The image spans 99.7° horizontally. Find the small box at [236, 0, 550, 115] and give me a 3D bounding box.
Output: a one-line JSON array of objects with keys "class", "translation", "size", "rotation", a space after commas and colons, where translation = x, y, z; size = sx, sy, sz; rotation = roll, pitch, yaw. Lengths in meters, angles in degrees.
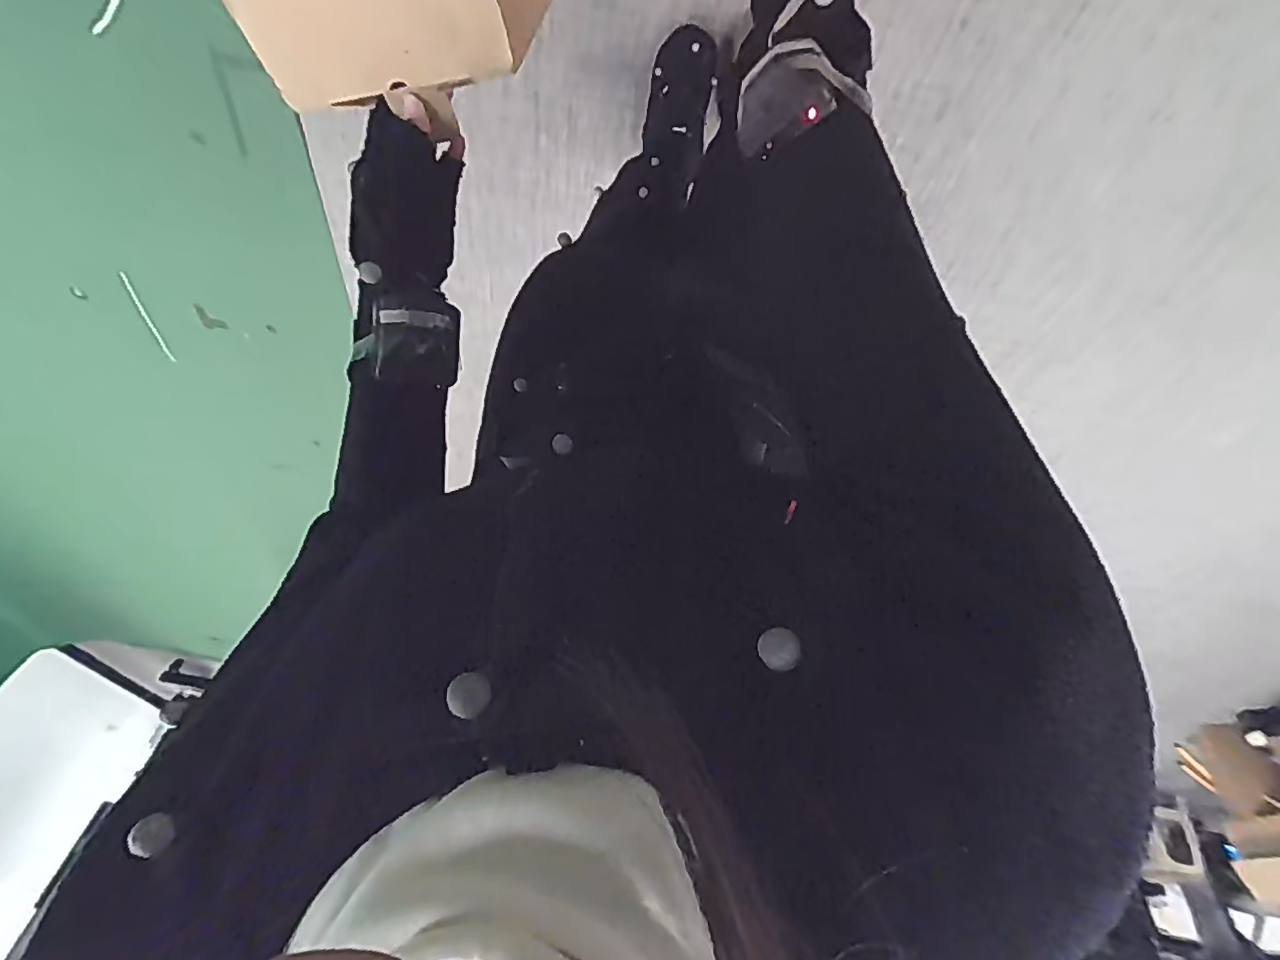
[{"class": "small box", "translation": [-0.162, -0.372, 0.339], "size": [0.168, 0.176, 0.179], "rotation": [-3, 144, 10]}]
